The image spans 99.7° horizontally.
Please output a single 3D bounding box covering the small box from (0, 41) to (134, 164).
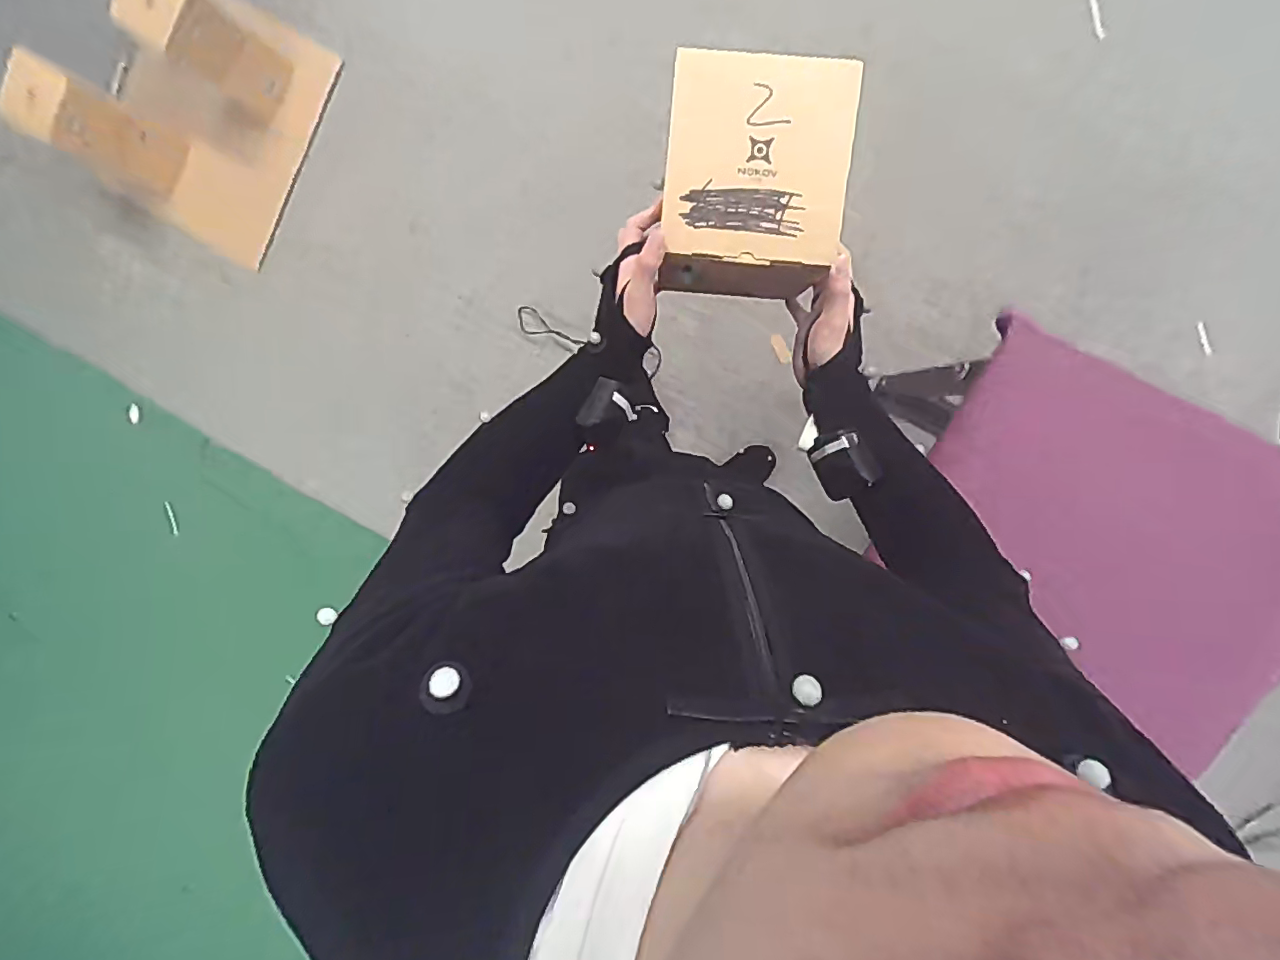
[{"bbox_3d":[-1.508,-0.988,1.432,0.168,0.176,0.179,32,101,1],"label":"small box"}]

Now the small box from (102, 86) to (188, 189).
[{"bbox_3d":[-1.493,-1.005,1.592,0.168,0.176,0.179,33,100,2],"label":"small box"}]

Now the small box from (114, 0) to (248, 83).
[{"bbox_3d":[-1.149,-1.166,1.367,0.168,0.176,0.179,36,101,0],"label":"small box"}]

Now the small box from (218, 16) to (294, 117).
[{"bbox_3d":[-1.127,-1.187,1.528,0.168,0.176,0.179,34,100,2],"label":"small box"}]
